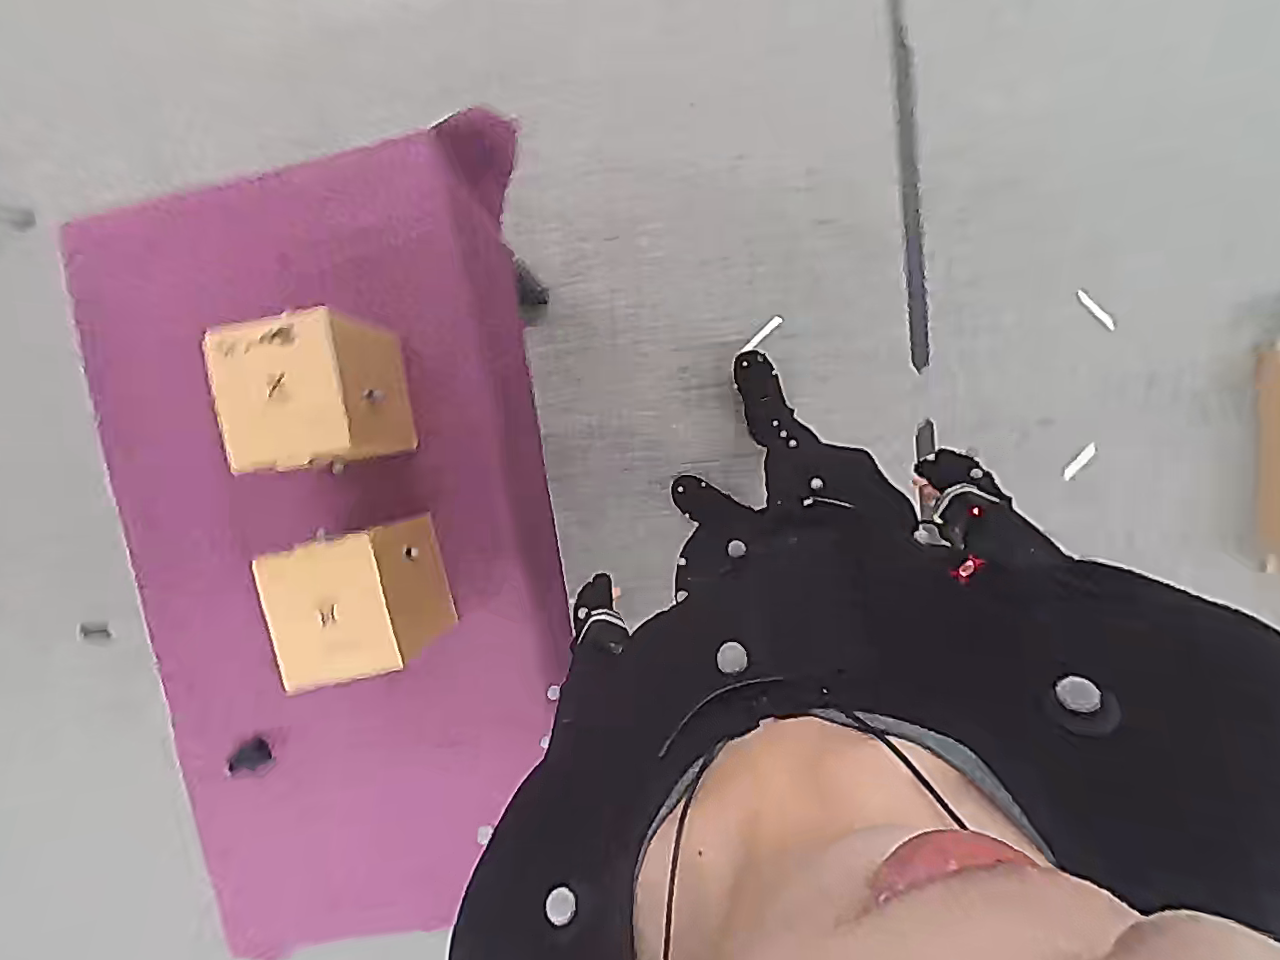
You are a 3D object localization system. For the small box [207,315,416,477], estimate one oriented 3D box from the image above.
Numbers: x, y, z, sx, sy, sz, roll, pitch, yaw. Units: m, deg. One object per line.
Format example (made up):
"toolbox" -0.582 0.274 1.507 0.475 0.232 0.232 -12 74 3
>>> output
"small box" -0.433 -0.109 0.743 0.168 0.176 0.179 -10 94 5

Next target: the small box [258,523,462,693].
"small box" -0.376 0.164 0.757 0.168 0.176 0.179 -15 93 7
